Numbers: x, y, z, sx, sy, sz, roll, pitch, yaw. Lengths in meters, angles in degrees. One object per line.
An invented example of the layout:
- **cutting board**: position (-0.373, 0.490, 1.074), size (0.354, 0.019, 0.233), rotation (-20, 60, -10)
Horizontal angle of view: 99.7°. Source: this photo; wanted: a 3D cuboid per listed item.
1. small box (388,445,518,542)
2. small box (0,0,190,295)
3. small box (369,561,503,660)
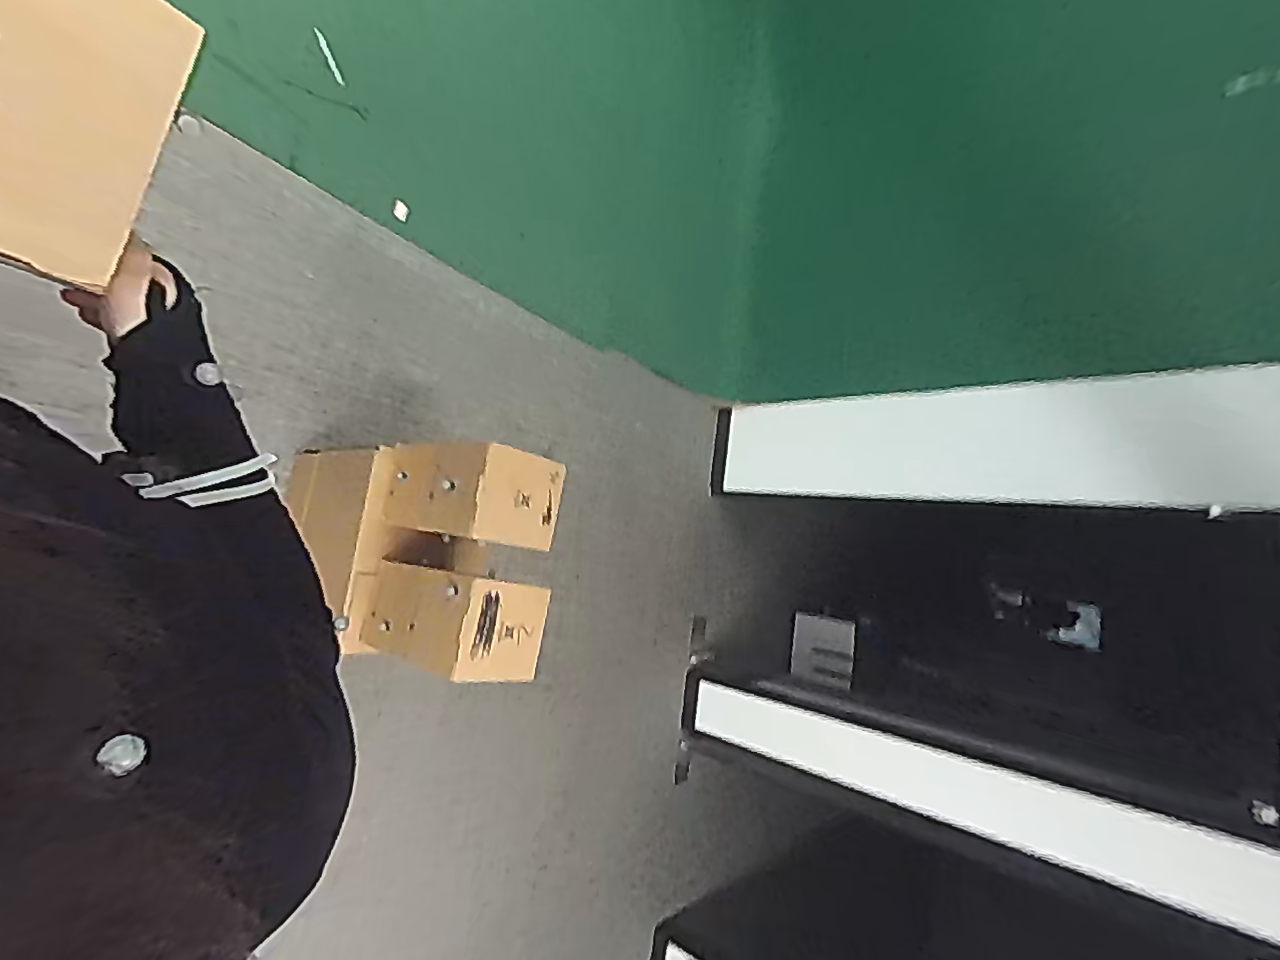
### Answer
- **small box**: position (-0.385, 0.026, 1.115), size (0.179, 0.176, 0.168), rotation (18, 78, -48)
- **small box**: position (-0.405, -0.227, 0.313), size (0.168, 0.176, 0.179), rotation (20, 88, -49)
- **small box**: position (-0.412, 0.261, 1.090), size (0.179, 0.176, 0.168), rotation (23, 73, -49)
